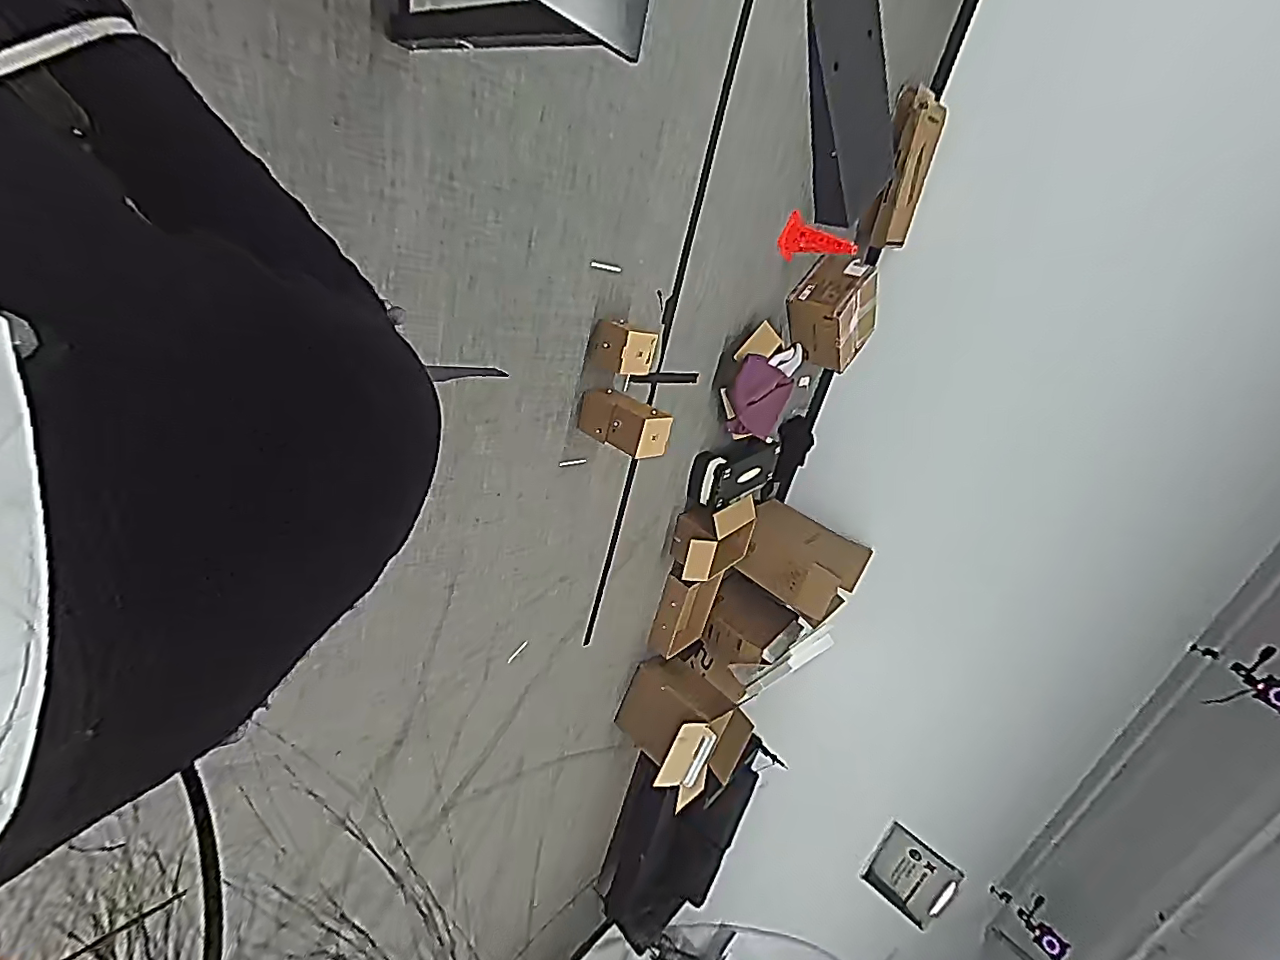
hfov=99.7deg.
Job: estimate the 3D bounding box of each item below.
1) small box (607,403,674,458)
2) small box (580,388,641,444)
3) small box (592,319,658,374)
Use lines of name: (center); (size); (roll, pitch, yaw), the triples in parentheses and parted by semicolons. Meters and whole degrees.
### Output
small box: (-0.001, -0.202, 2.138); (0.179, 0.176, 0.168); (-11, 124, -48)
small box: (-0.127, -0.266, 2.219); (0.168, 0.176, 0.179); (-15, 127, -48)
small box: (-0.063, -0.520, 2.101); (0.179, 0.176, 0.168); (-10, 123, -49)
